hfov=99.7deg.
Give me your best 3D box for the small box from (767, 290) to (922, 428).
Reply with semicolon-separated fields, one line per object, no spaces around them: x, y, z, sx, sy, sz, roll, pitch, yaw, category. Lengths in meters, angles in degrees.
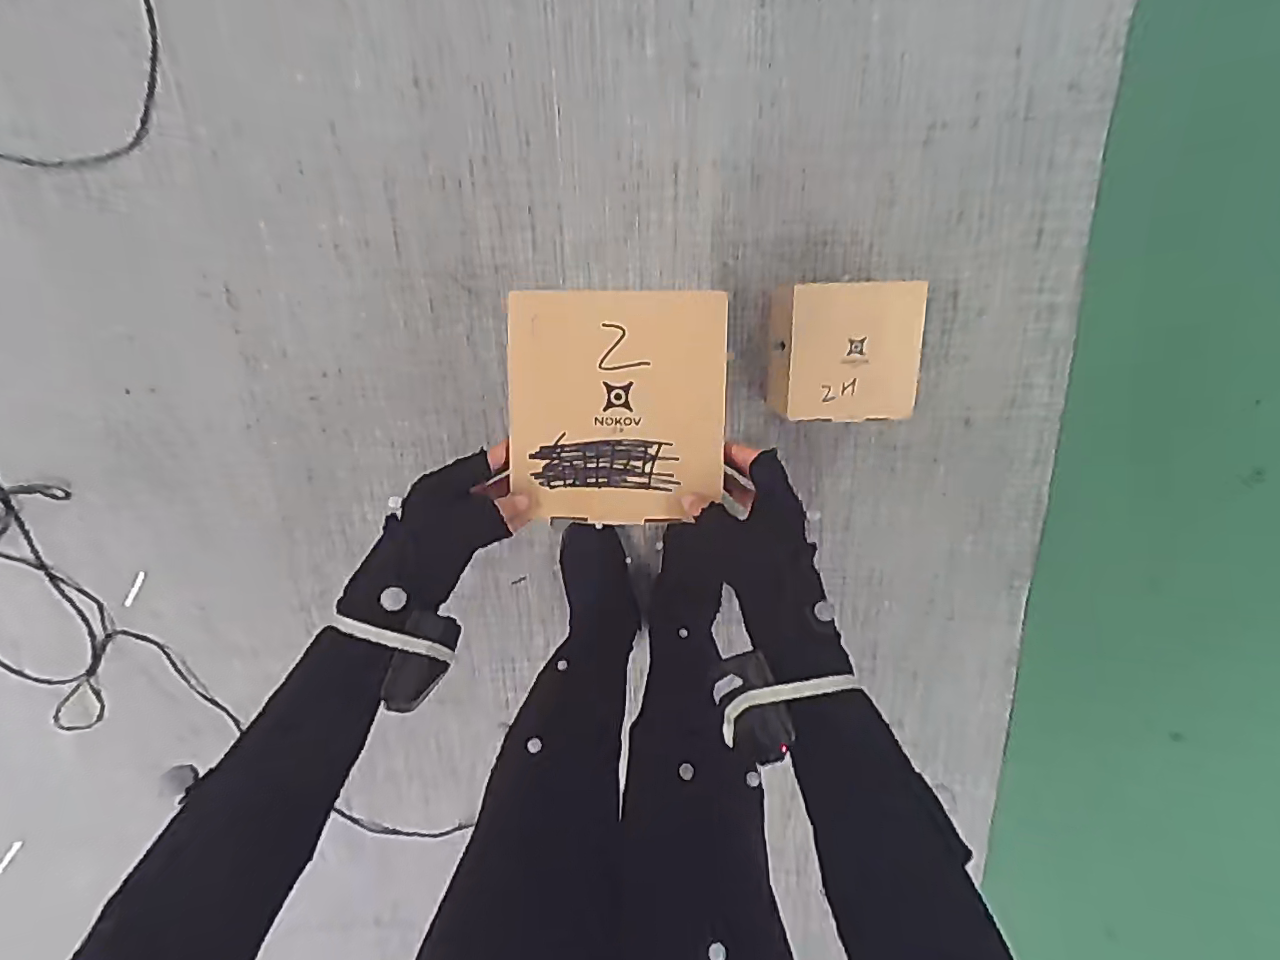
0.281;-0.176;0.783;0.168;0.176;0.179;0;106;4;small box
